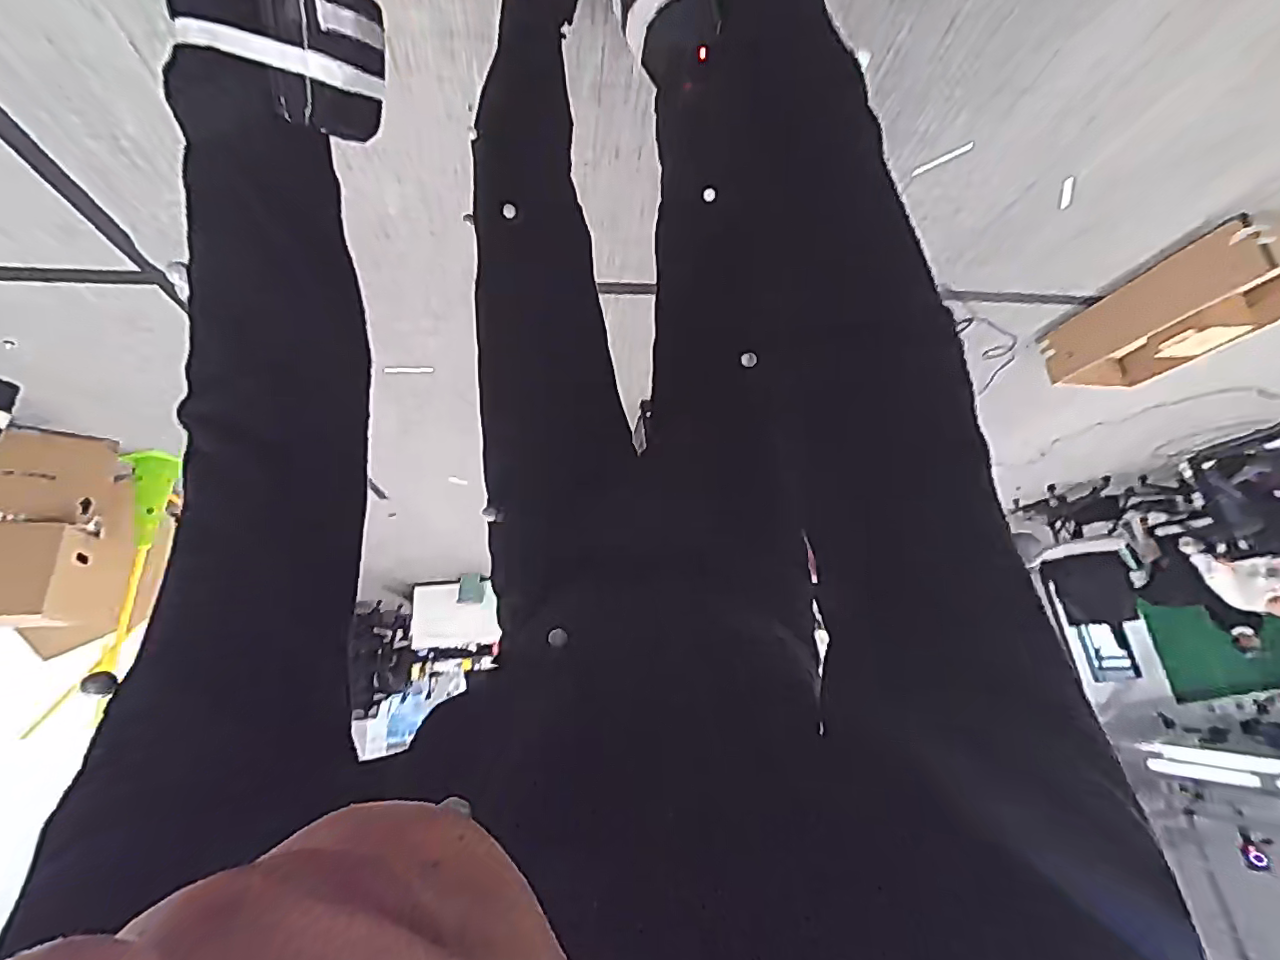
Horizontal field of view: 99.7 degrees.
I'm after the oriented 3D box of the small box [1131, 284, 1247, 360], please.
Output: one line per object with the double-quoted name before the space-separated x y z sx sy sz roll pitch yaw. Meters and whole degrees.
"small box" 1.707 -0.495 1.694 0.179 0.176 0.168 -2 162 -11
